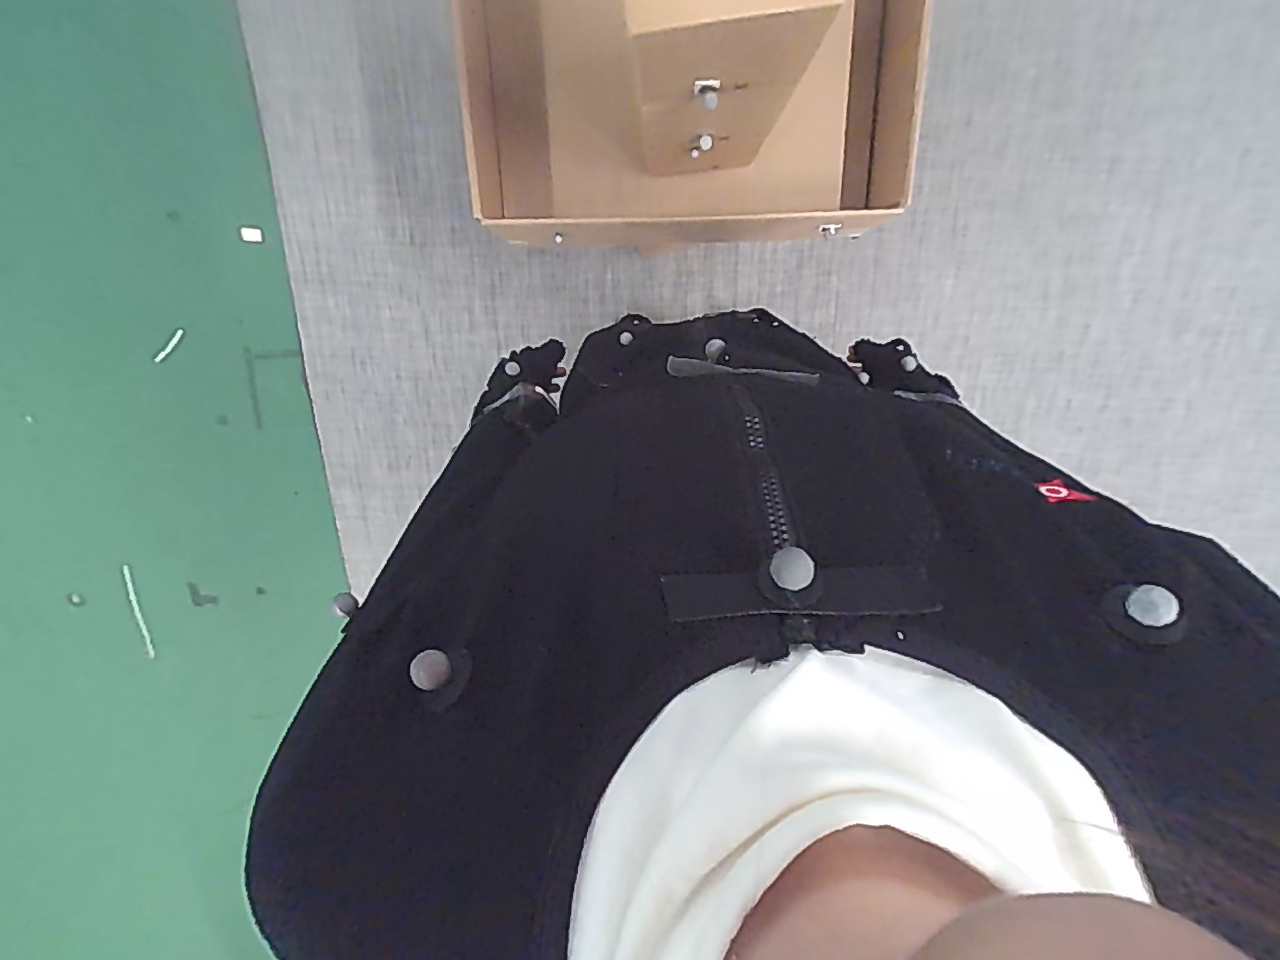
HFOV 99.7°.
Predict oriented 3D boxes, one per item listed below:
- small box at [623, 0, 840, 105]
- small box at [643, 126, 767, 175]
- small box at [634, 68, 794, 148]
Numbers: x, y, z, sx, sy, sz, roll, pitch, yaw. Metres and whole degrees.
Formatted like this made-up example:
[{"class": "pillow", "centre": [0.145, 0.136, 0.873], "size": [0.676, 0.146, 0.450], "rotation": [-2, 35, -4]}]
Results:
[{"class": "small box", "centre": [0.066, -0.456, 0.460], "size": [0.168, 0.176, 0.179], "rotation": [-4, 108, 5]}, {"class": "small box", "centre": [0.083, -0.559, 0.768], "size": [0.168, 0.176, 0.179], "rotation": [-4, 106, 6]}, {"class": "small box", "centre": [0.073, -0.506, 0.613], "size": [0.168, 0.176, 0.179], "rotation": [-4, 108, 4]}]
